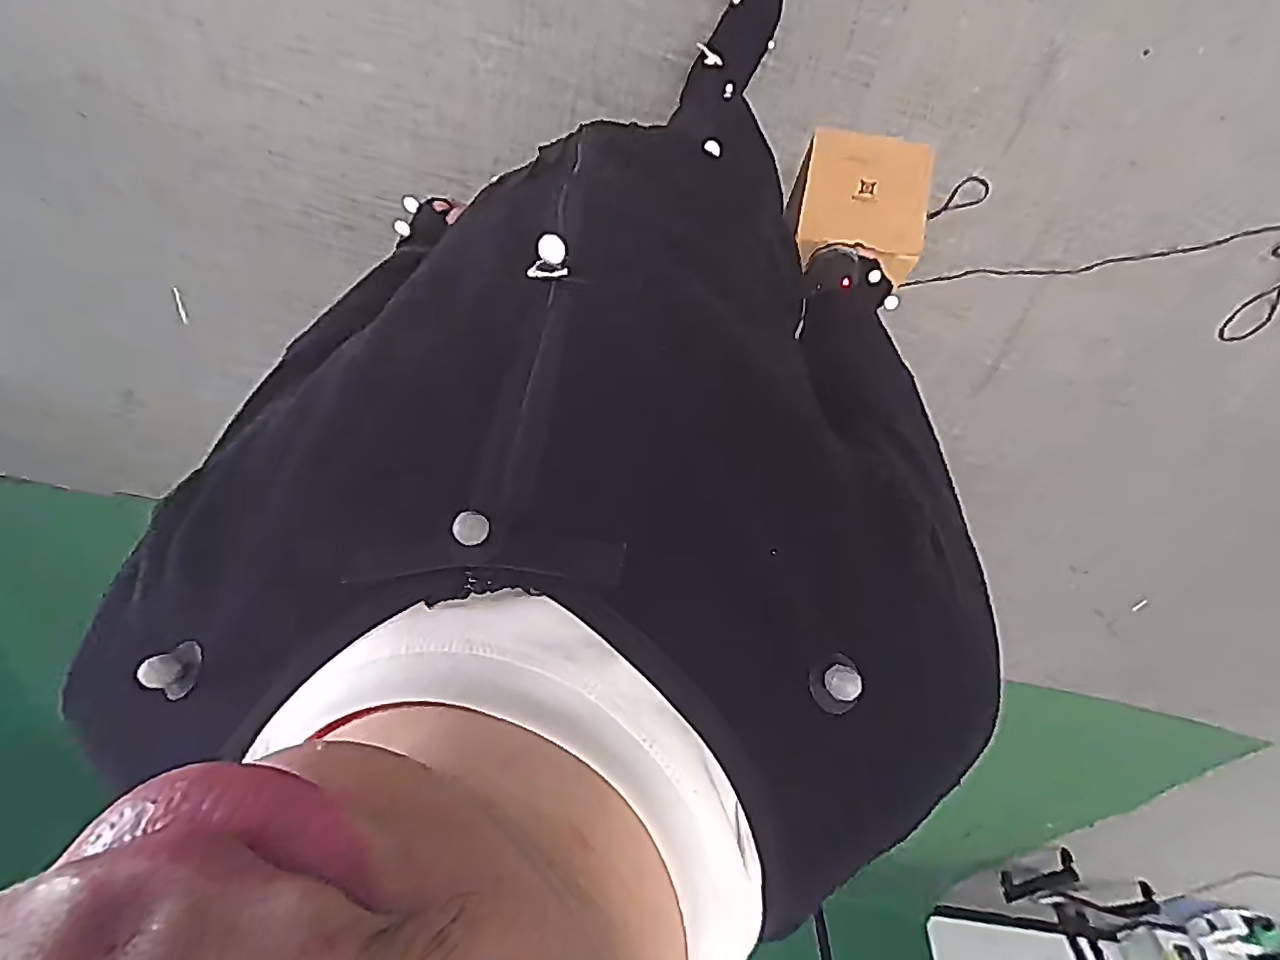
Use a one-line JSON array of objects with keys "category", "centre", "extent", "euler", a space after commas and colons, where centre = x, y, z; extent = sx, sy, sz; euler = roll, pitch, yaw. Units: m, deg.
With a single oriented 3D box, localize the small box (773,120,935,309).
[{"category": "small box", "centre": [0.302, -0.377, 0.795], "extent": [0.168, 0.179, 0.176], "euler": [11, 169, 2]}]
